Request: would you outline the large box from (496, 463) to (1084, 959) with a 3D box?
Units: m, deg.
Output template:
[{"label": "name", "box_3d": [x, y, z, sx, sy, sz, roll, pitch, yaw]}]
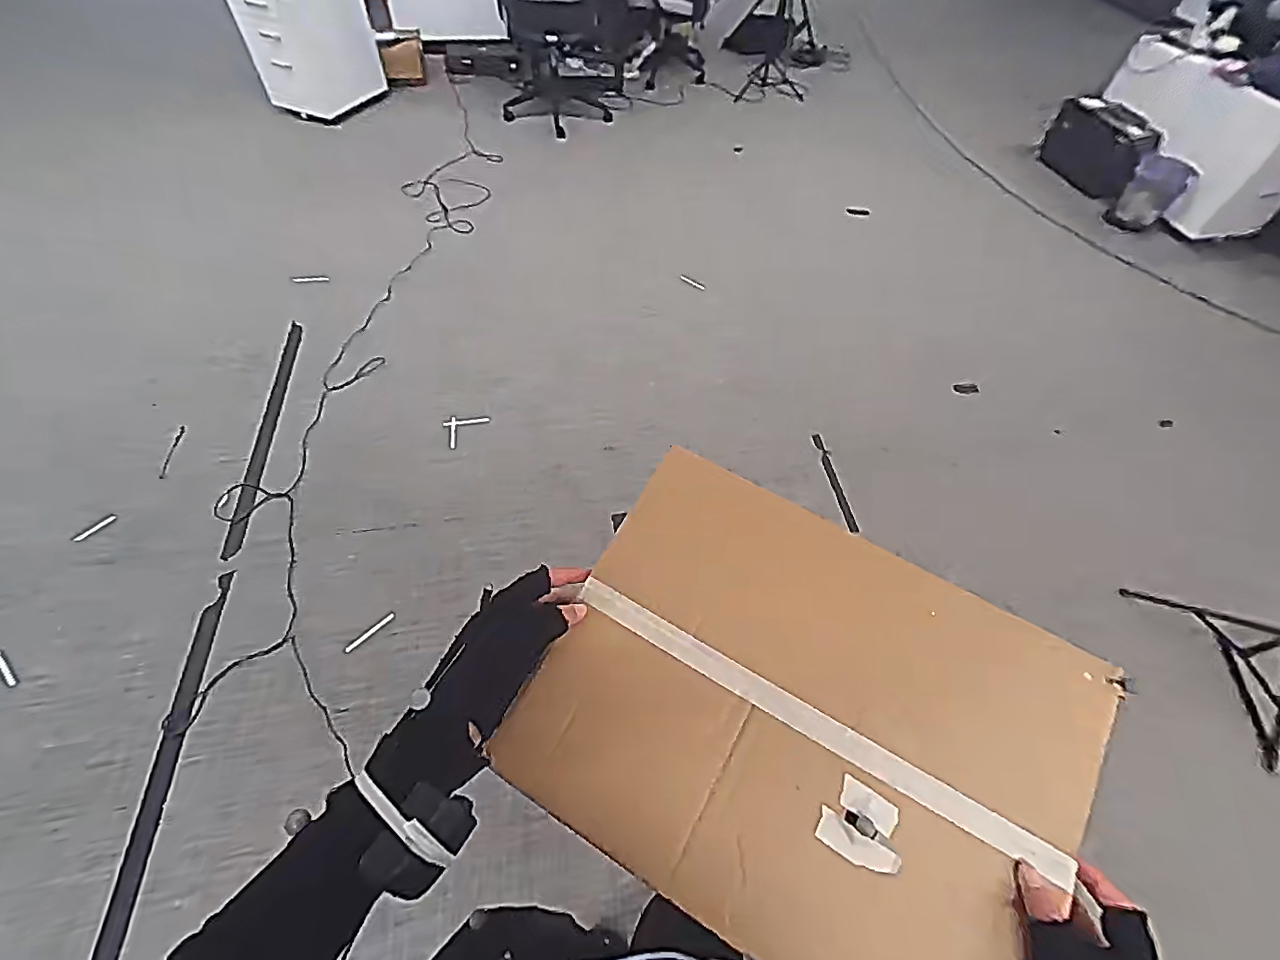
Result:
[{"label": "large box", "box_3d": [0.129, 0.246, 0.582, 0.408, 0.320, 0.320, 28, 72, 13]}]
